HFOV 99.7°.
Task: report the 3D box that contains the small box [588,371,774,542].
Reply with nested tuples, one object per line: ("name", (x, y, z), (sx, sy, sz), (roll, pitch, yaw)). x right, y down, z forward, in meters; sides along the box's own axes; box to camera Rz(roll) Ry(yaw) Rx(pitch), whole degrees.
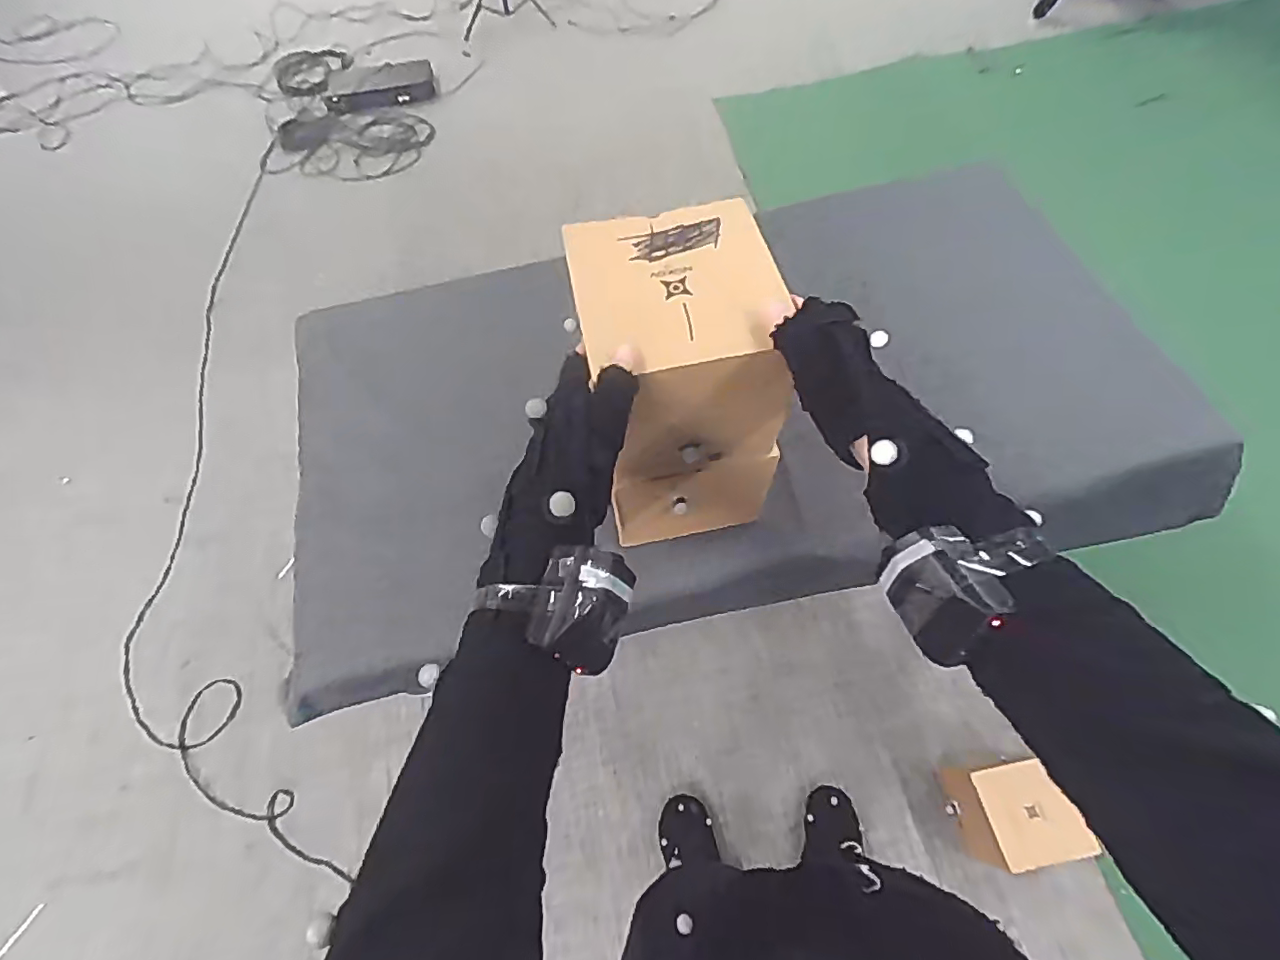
("small box", (0.044, -0.038, 0.651), (0.179, 0.176, 0.168), (-10, 62, -2))

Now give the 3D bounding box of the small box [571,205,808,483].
("small box", (0.034, -0.120, 0.508), (0.168, 0.176, 0.179), (-10, 63, -3))

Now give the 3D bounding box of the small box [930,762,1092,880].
("small box", (0.724, 0.668, 1.079), (0.179, 0.176, 0.168), (-11, 62, -1))
